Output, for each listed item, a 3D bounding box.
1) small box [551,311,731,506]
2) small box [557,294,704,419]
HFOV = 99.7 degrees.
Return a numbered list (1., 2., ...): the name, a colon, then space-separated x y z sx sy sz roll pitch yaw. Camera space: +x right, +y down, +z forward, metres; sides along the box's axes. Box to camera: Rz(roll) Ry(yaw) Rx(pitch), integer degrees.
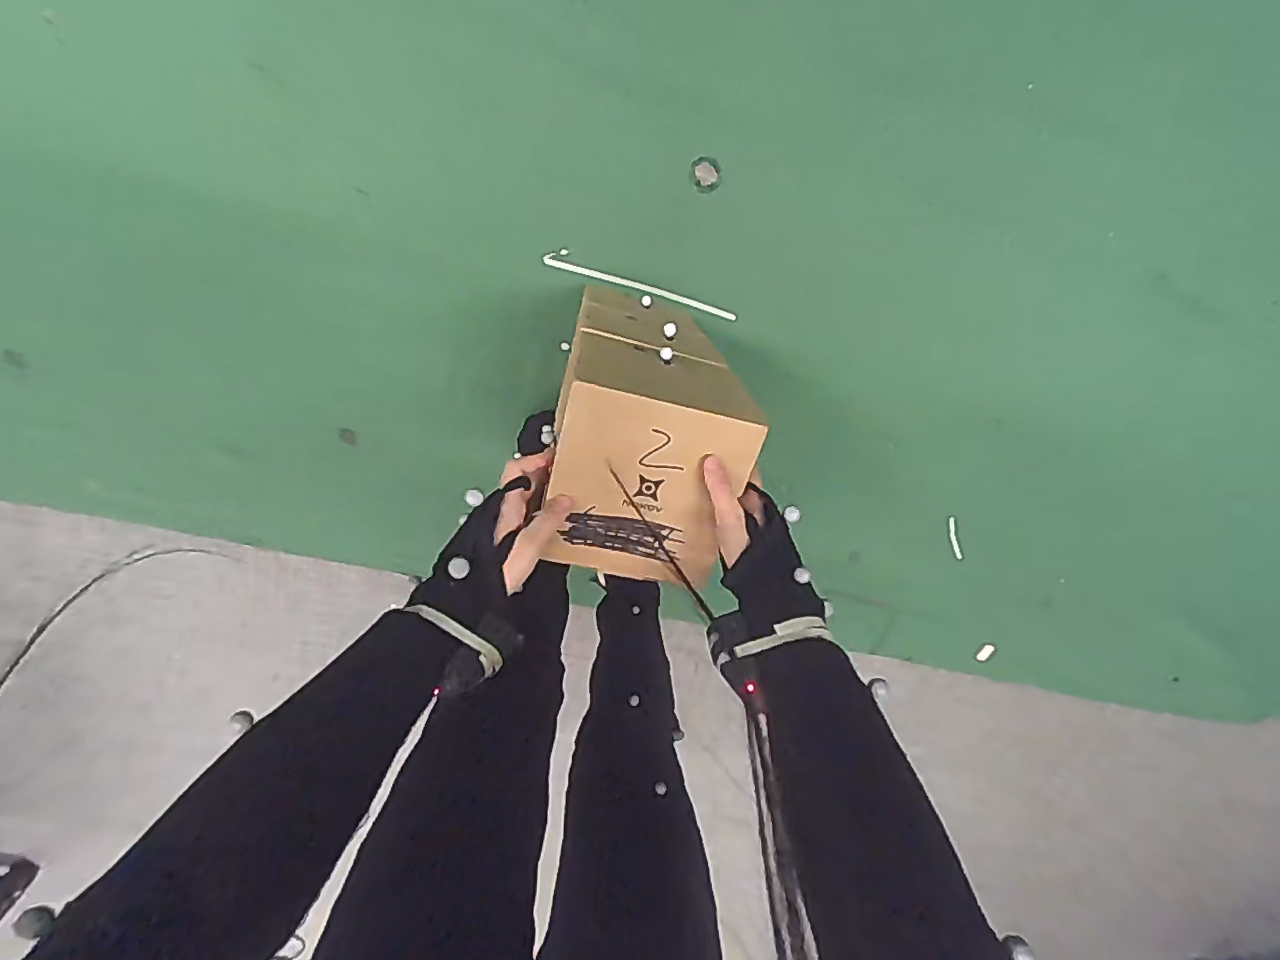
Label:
1. small box: -0.008 -0.096 0.677 0.168 0.176 0.179 14 115 -11
2. small box: -0.021 -0.167 0.822 0.168 0.176 0.179 16 114 -11
